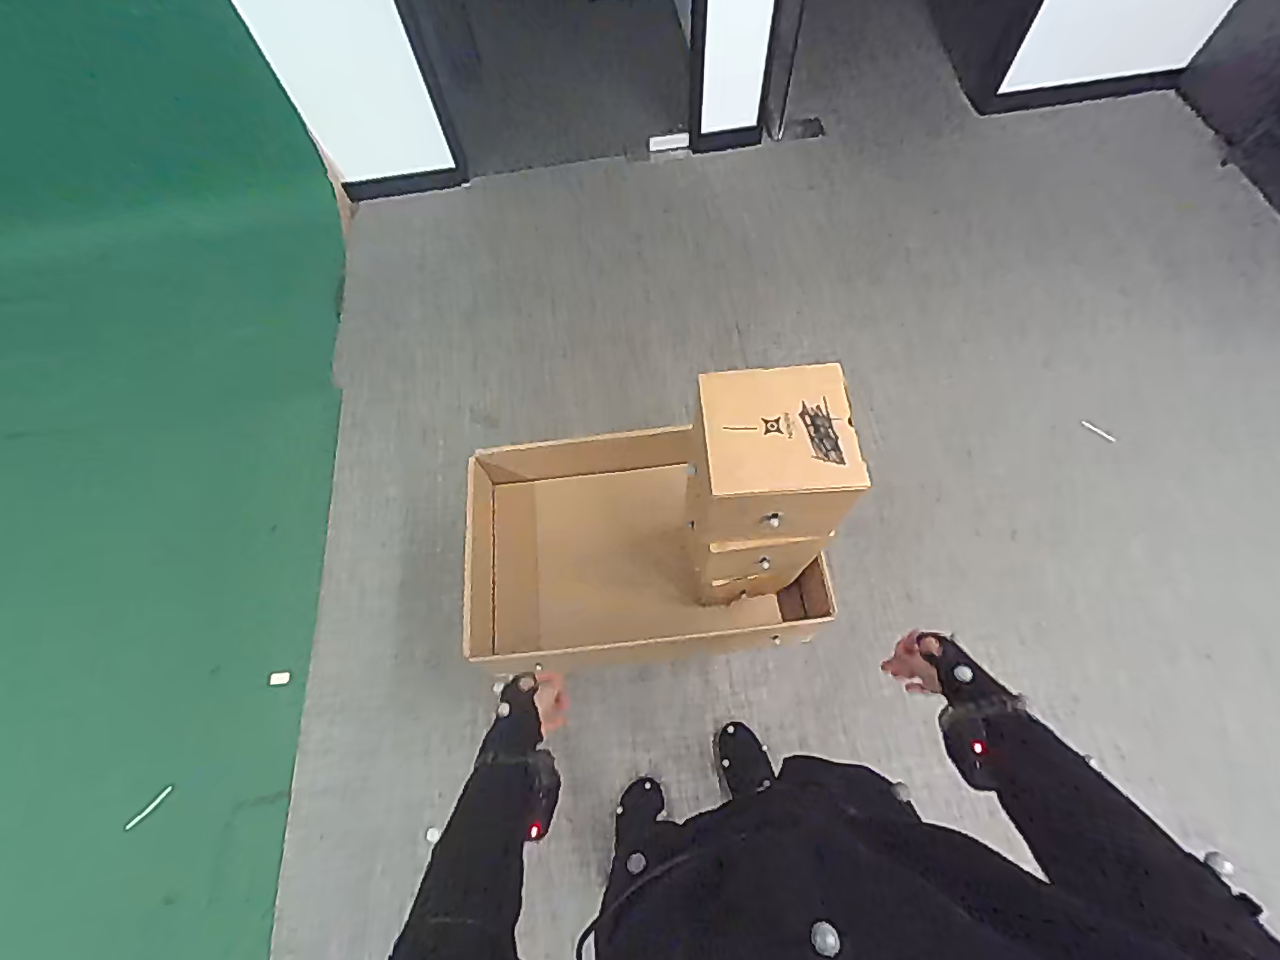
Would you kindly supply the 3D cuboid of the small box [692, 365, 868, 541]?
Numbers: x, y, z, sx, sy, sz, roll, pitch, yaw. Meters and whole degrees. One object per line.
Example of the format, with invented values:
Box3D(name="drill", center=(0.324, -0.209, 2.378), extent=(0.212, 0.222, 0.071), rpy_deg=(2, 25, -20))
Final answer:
Box3D(name="small box", center=(0.162, -0.027, 0.693), extent=(0.179, 0.176, 0.168), rpy_deg=(-4, 65, 2))
